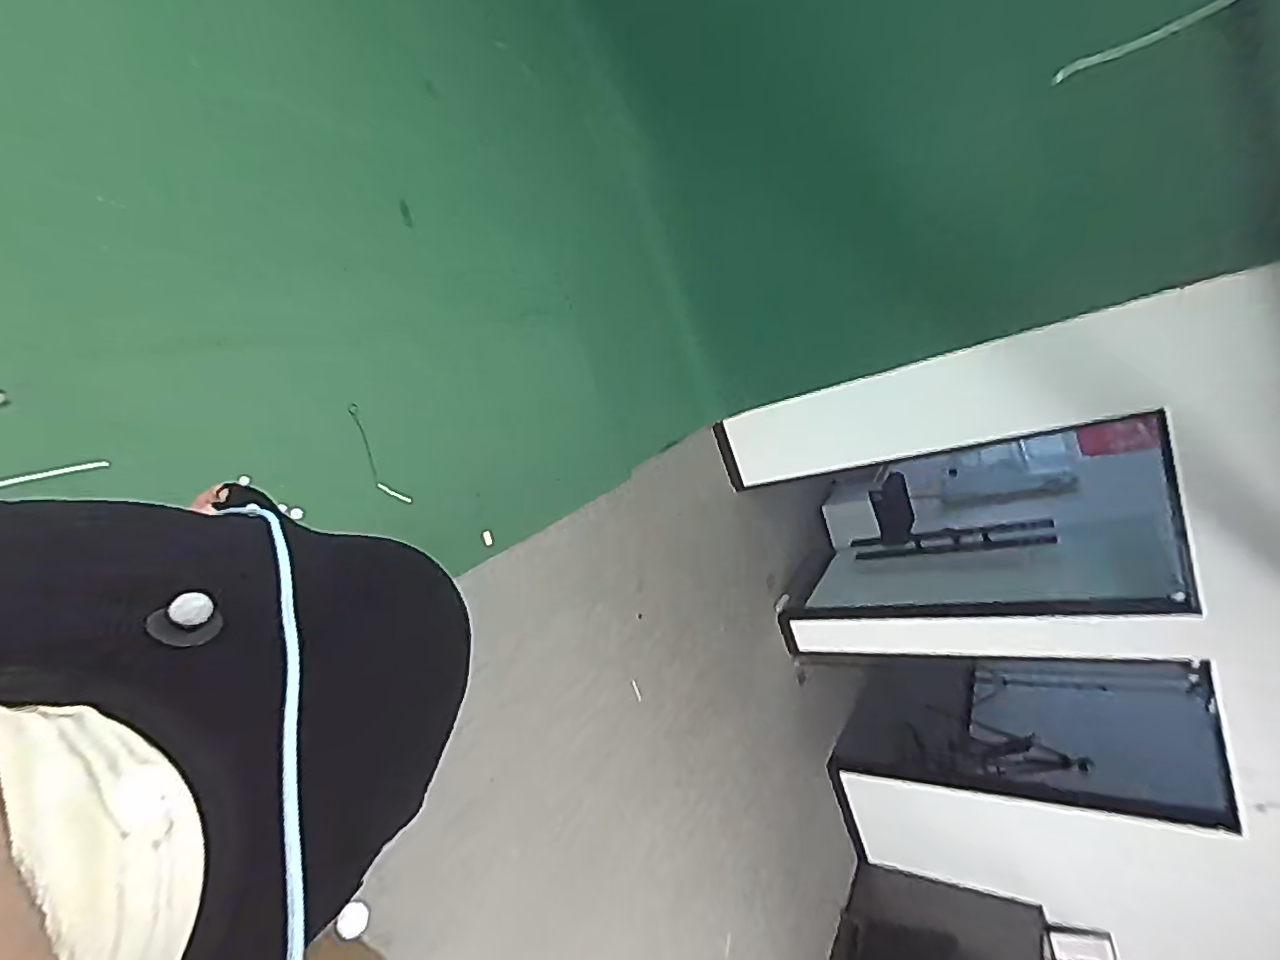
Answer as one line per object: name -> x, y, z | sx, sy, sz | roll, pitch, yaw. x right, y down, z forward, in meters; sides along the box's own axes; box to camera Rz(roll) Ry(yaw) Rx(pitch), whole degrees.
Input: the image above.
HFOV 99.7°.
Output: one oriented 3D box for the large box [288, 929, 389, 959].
large box -> -0.774, 1.296, 1.164 | 0.408, 0.320, 0.320 | 3, 78, -51
